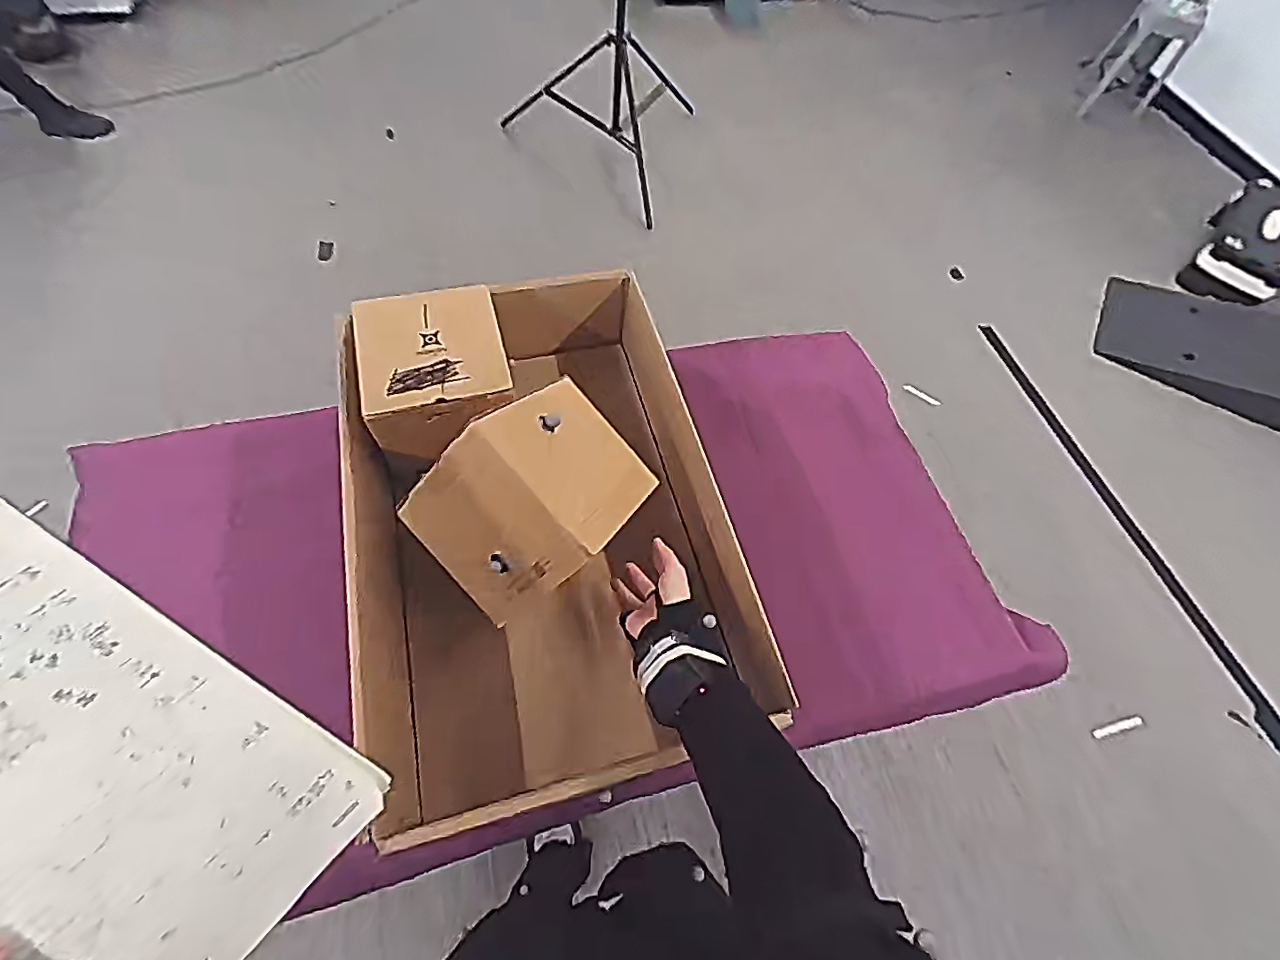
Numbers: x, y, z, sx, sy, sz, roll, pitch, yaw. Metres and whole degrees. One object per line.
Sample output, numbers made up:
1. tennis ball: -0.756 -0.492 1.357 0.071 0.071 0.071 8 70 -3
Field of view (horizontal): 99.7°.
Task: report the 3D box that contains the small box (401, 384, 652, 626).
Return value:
1. small box: -0.112 0.025 0.592 0.176 0.168 0.179 49 33 -2
